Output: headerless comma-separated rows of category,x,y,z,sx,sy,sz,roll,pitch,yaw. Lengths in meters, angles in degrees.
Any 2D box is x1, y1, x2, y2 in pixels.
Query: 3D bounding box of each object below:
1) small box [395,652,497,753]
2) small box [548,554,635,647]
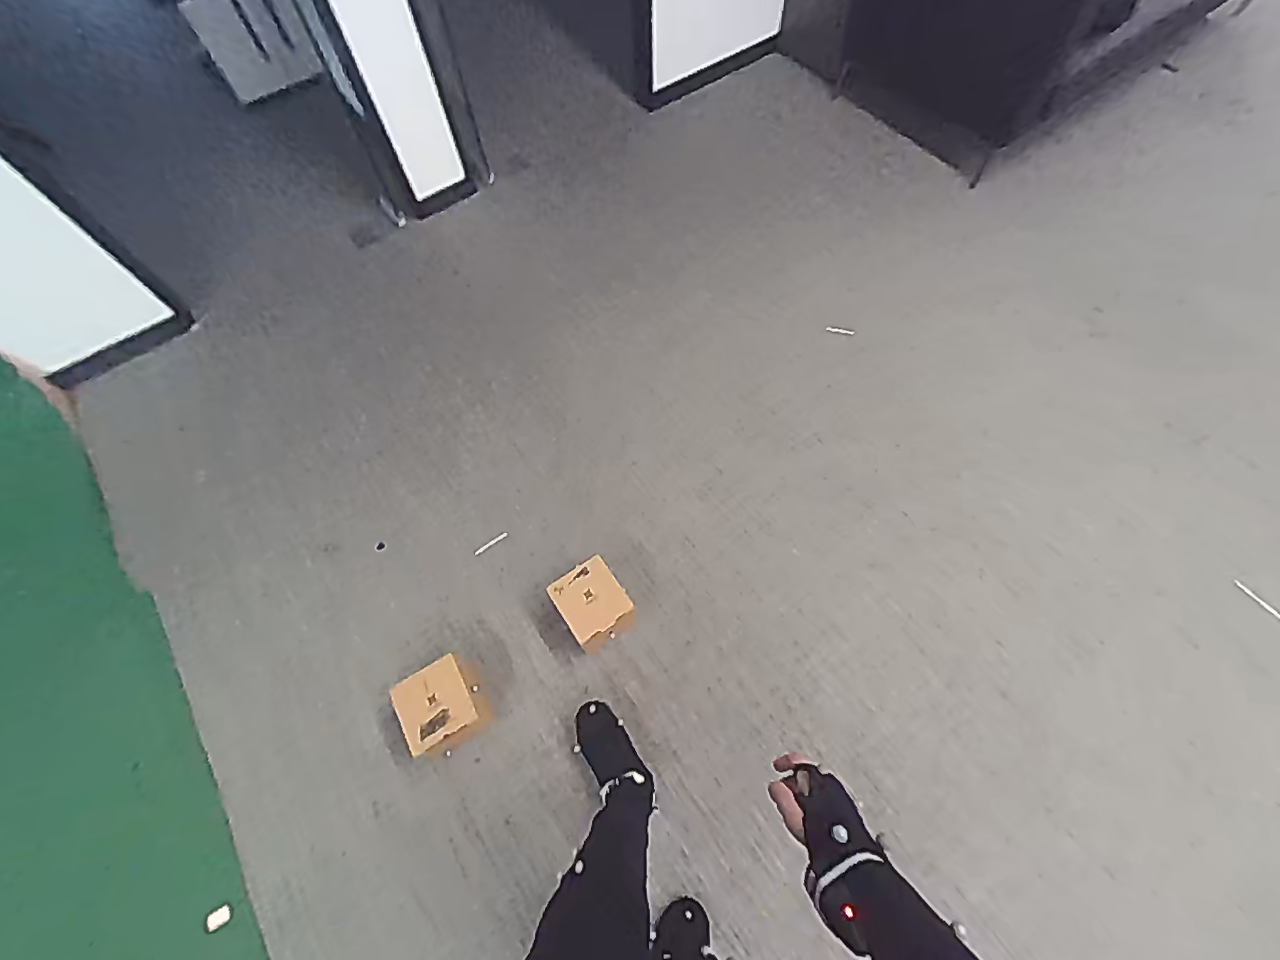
small box,-0.482,0.565,1.370,0.168,0.176,0.179,-28,66,-12
small box,-0.122,0.332,1.454,0.168,0.176,0.179,-31,68,-13
